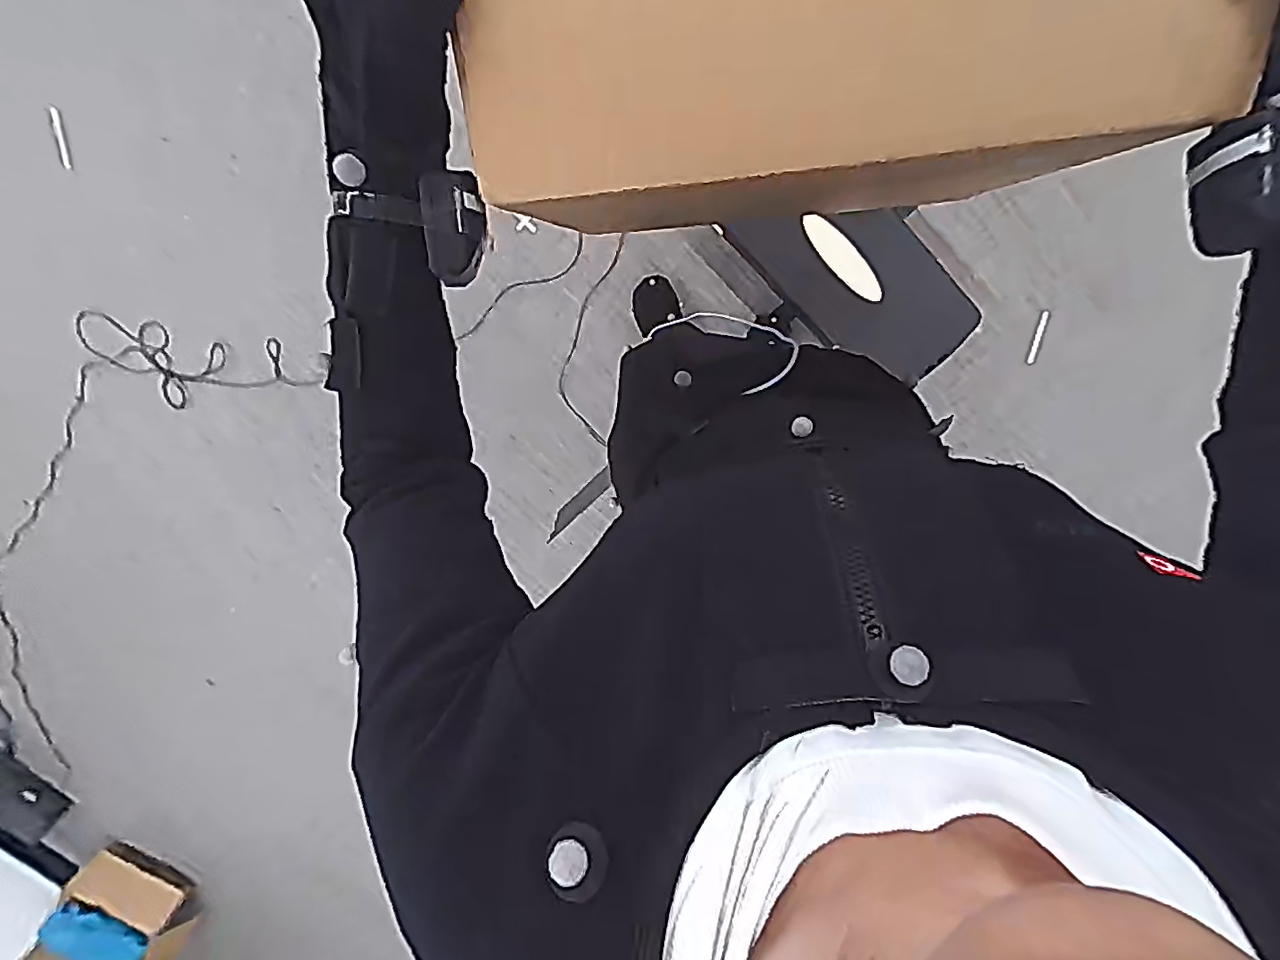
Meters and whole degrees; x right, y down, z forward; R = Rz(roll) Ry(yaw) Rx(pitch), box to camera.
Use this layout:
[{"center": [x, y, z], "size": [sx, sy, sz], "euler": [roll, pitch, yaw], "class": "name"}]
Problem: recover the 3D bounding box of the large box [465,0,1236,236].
[{"center": [0.105, -0.381, 0.399], "size": [0.408, 0.320, 0.320], "euler": [-3, 111, 7], "class": "large box"}]
